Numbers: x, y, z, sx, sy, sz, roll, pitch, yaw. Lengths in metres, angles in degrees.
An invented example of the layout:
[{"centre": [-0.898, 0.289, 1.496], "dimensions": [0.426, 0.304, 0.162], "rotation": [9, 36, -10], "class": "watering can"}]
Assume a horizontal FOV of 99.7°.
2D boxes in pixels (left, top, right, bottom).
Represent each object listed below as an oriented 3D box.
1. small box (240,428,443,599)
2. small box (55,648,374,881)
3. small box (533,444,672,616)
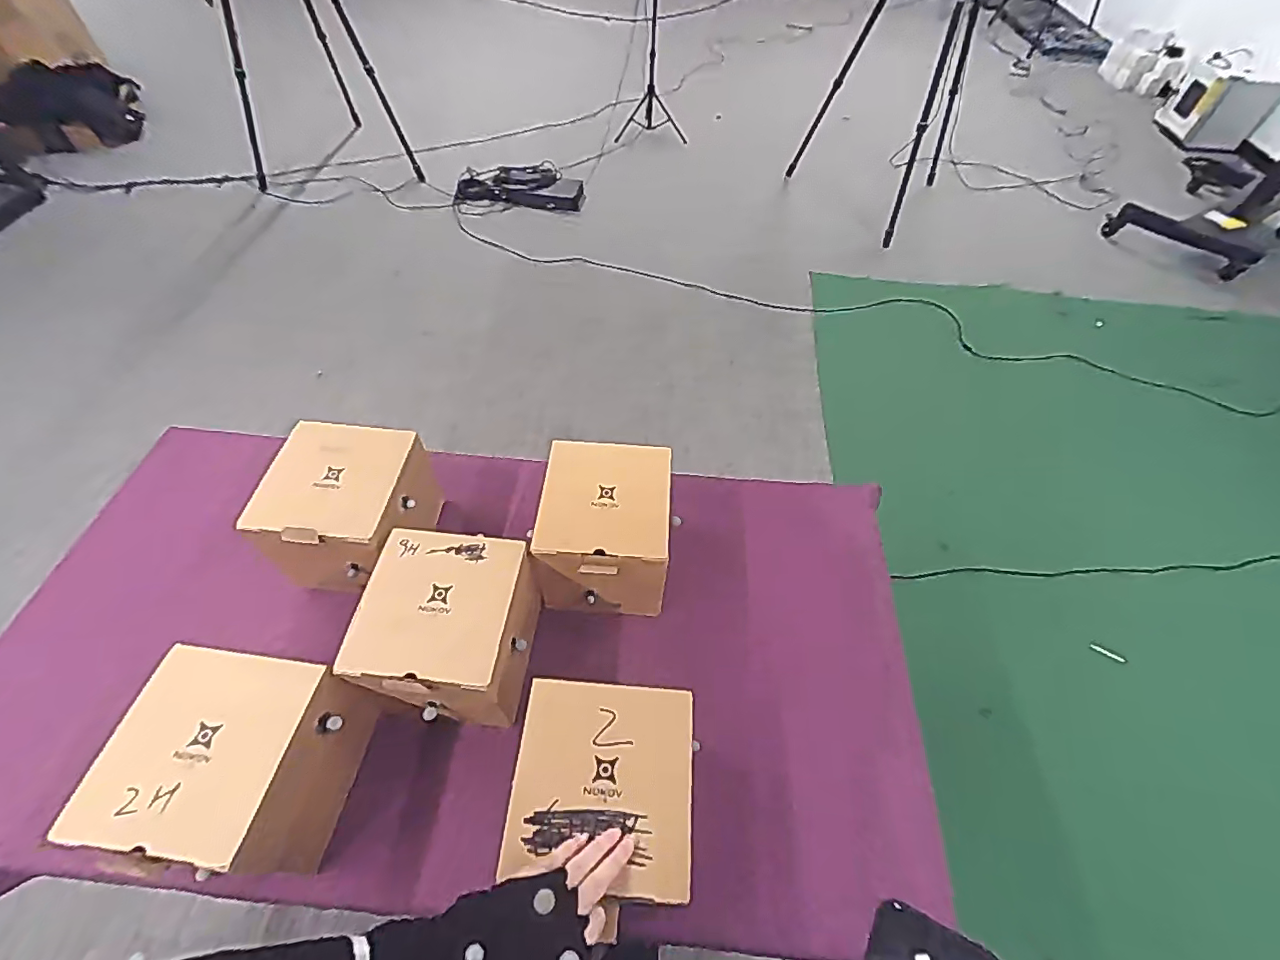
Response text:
[{"centre": [-0.394, 0.052, 0.758], "dimensions": [0.168, 0.176, 0.179], "rotation": [6, 53, 1], "class": "small box"}, {"centre": [-0.410, 0.301, 0.569], "dimensions": [0.168, 0.176, 0.179], "rotation": [7, 53, 4], "class": "small box"}, {"centre": [-0.045, 0.072, 0.756], "dimensions": [0.168, 0.176, 0.179], "rotation": [3, 55, 0], "class": "small box"}]
